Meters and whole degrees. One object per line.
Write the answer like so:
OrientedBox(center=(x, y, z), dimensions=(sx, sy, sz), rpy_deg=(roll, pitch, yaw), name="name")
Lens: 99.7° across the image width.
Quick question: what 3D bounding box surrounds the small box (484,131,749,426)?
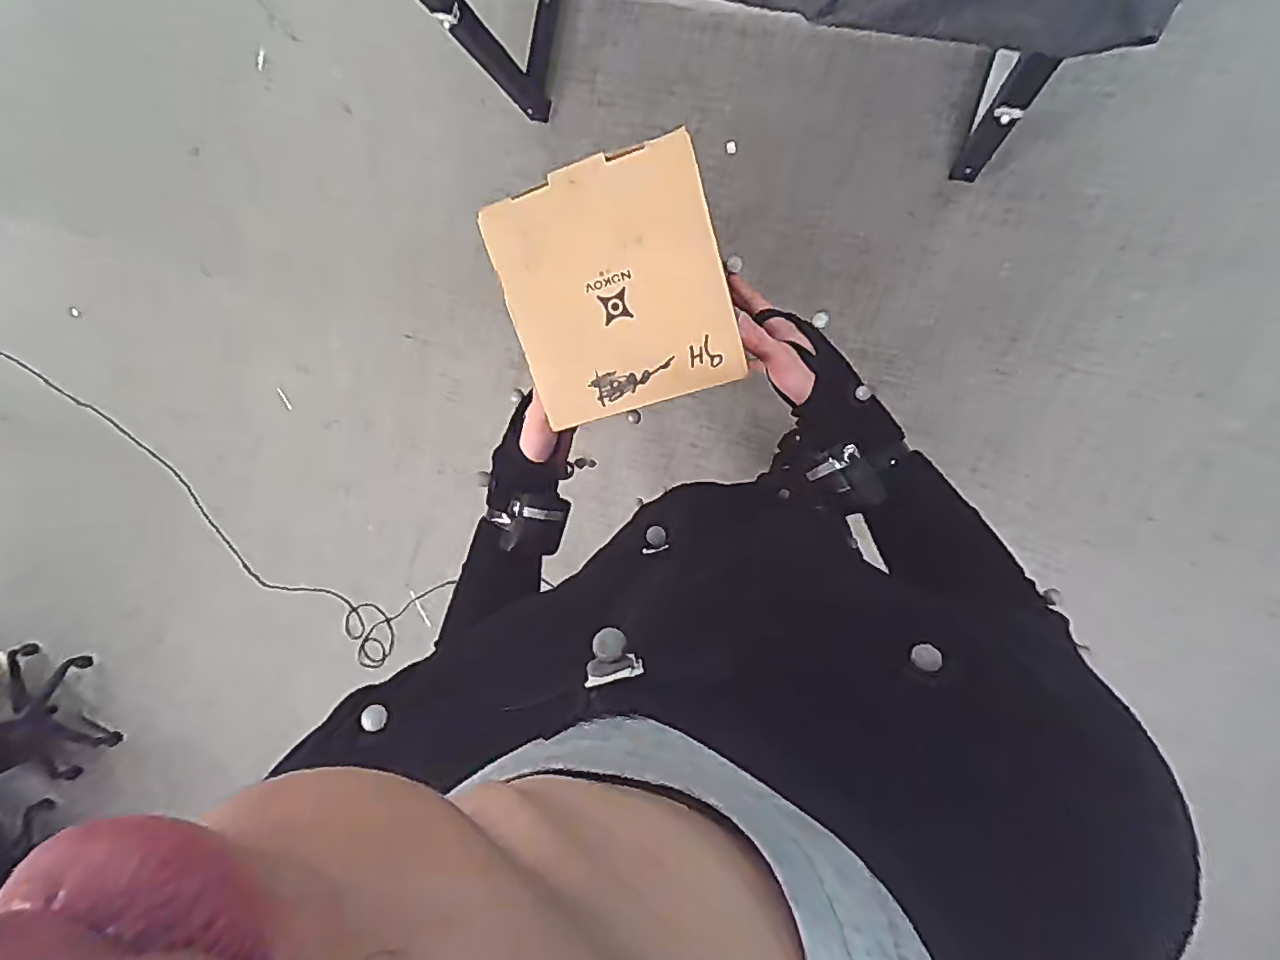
OrientedBox(center=(-0.005, -0.164, 0.480), dimensions=(0.168, 0.176, 0.179), rpy_deg=(-13, 105, 15), name="small box")
